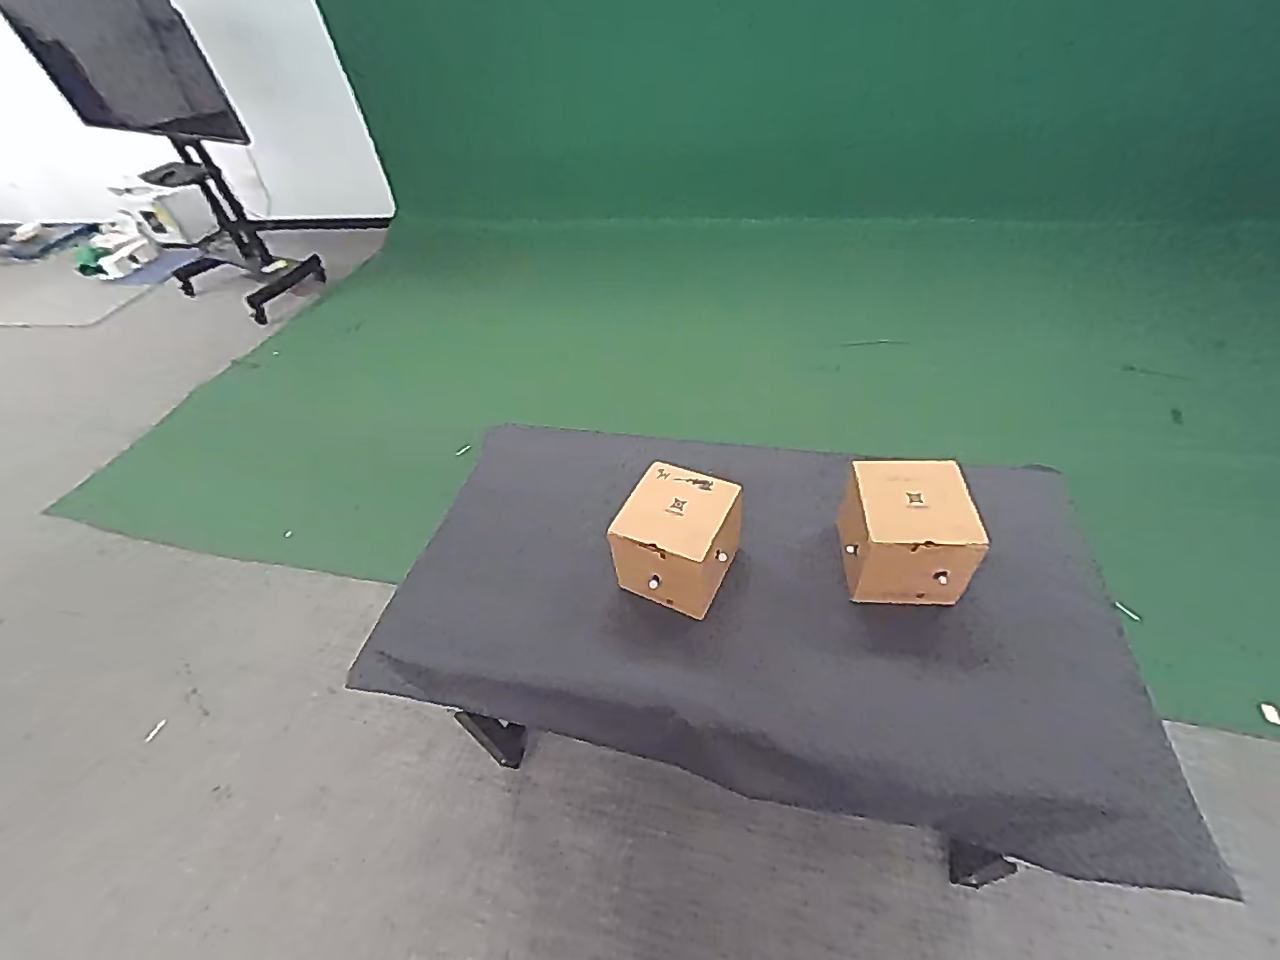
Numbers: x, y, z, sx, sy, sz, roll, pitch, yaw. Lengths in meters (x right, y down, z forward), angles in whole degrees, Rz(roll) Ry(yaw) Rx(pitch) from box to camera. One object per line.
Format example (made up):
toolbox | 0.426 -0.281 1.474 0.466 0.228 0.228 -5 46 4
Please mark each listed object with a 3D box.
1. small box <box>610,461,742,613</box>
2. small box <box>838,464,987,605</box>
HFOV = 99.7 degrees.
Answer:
small box | 0.070 0.102 0.943 0.168 0.176 0.179 19 52 22
small box | 0.439 0.093 0.905 0.168 0.176 0.179 1 46 7
